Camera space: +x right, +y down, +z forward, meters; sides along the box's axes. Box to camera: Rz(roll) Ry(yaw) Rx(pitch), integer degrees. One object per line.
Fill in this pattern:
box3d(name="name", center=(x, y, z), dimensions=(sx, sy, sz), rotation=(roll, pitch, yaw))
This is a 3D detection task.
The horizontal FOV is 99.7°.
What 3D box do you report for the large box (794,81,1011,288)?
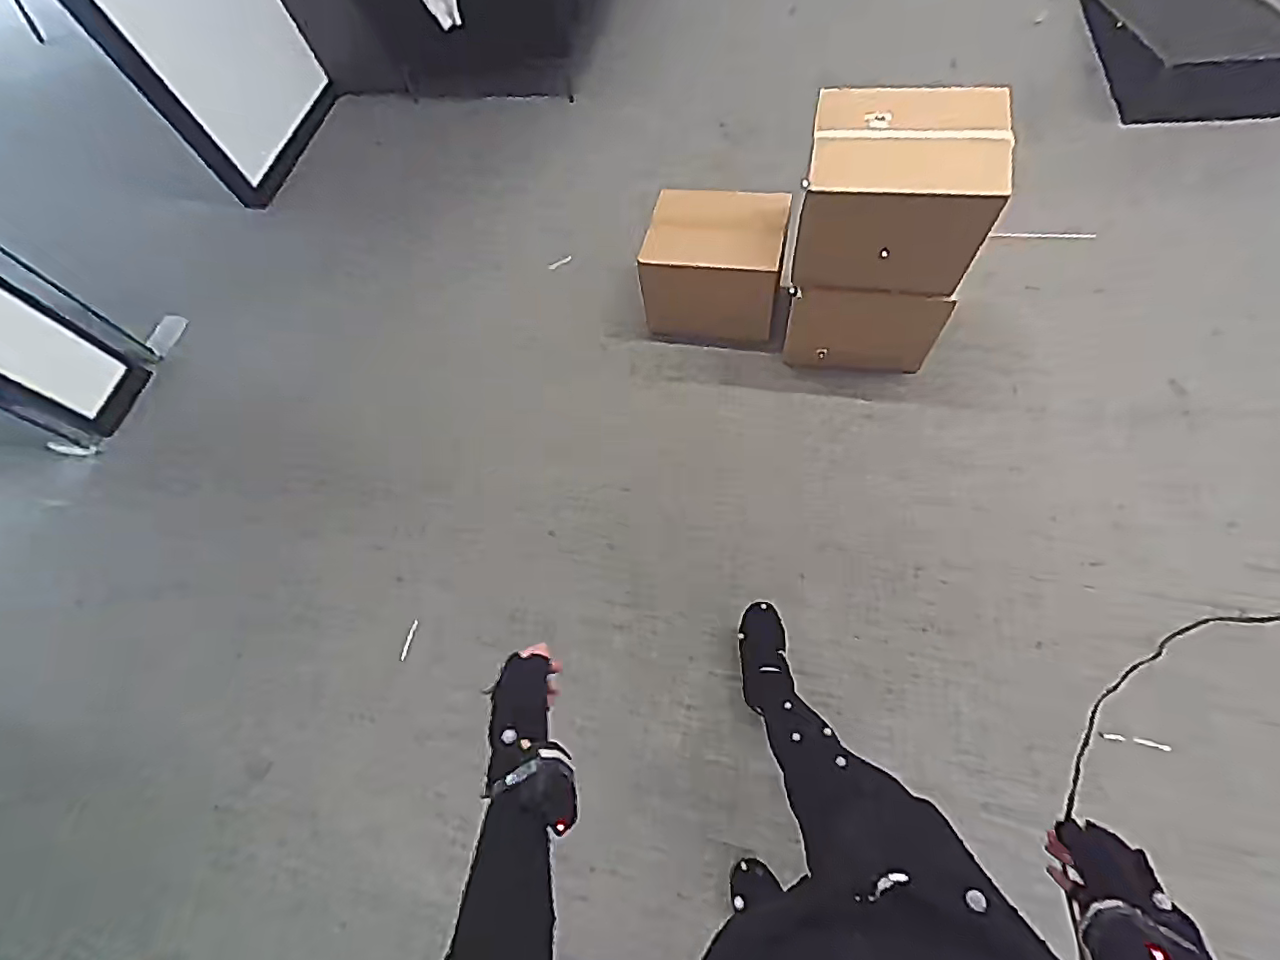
box3d(name="large box", center=(0.605, -0.693, 1.304), dimensions=(0.408, 0.320, 0.320), rotation=(8, 71, 13))
